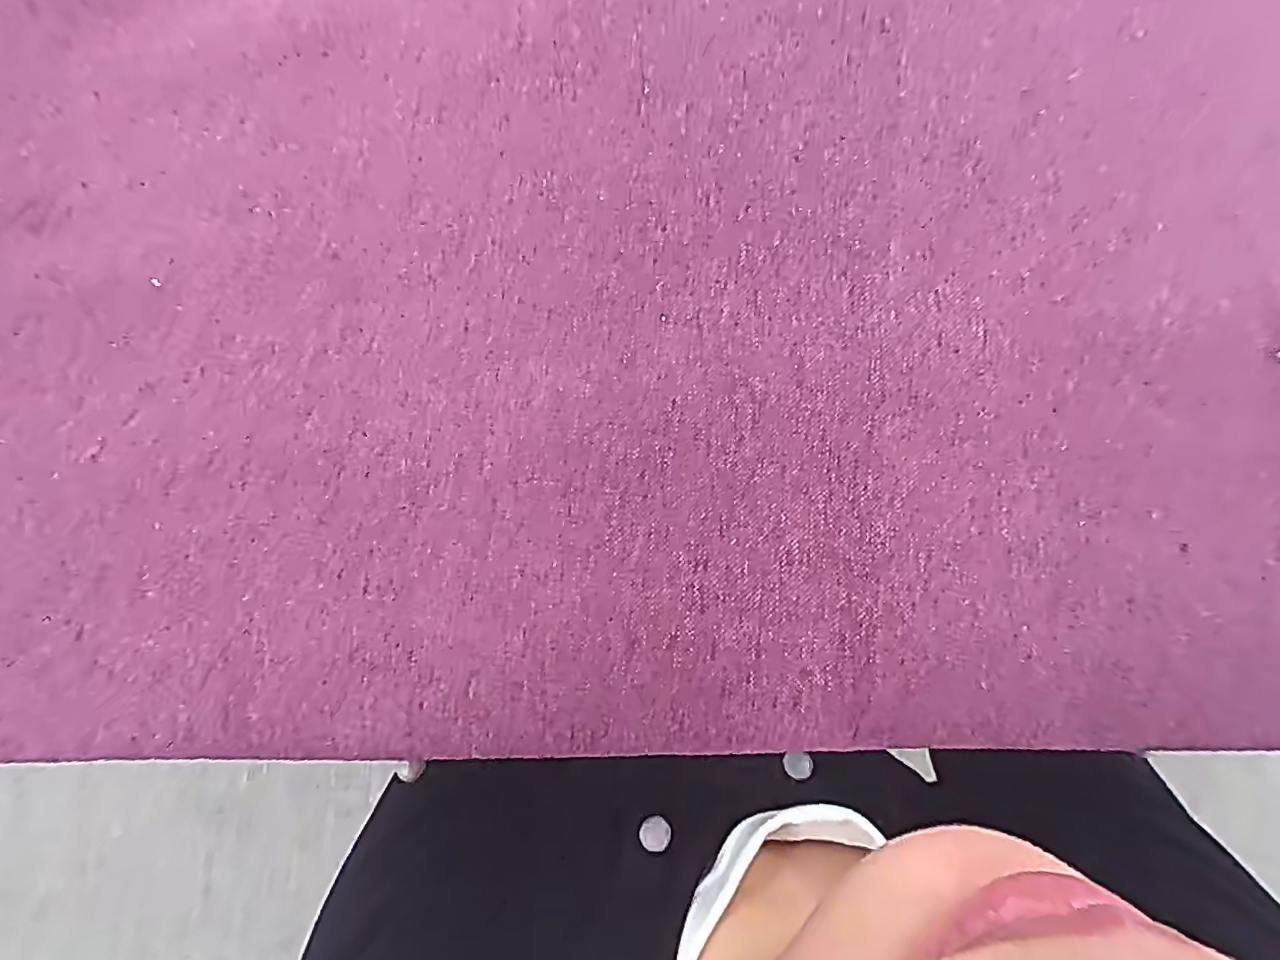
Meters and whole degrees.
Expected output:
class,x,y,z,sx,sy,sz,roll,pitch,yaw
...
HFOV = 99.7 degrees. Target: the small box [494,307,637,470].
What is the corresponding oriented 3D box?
class,x,y,z,sx,sy,sz,roll,pitch,yaw
small box,-0.091,-0.112,0.721,0.168,0.176,0.179,-3,85,1
